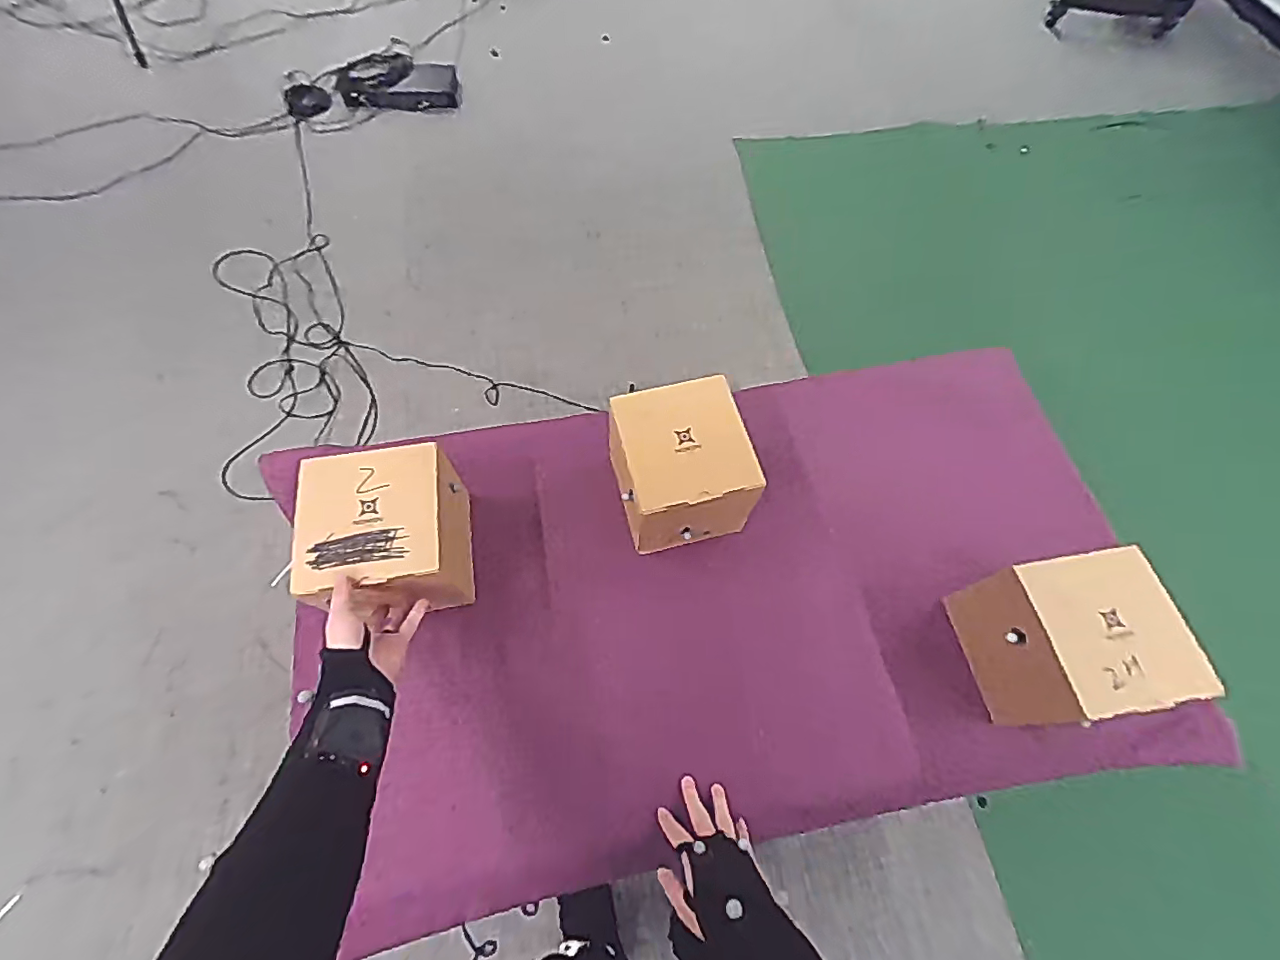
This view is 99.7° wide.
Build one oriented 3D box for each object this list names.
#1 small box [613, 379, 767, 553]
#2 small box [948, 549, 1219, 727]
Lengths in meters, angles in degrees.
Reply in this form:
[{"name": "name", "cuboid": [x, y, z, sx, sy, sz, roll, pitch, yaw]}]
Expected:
[{"name": "small box", "cuboid": [0.058, -0.015, 0.775, 0.168, 0.176, 0.179, -13, 67, -8]}, {"name": "small box", "cuboid": [0.535, 0.206, 0.688, 0.168, 0.176, 0.179, -8, 65, -5]}]
